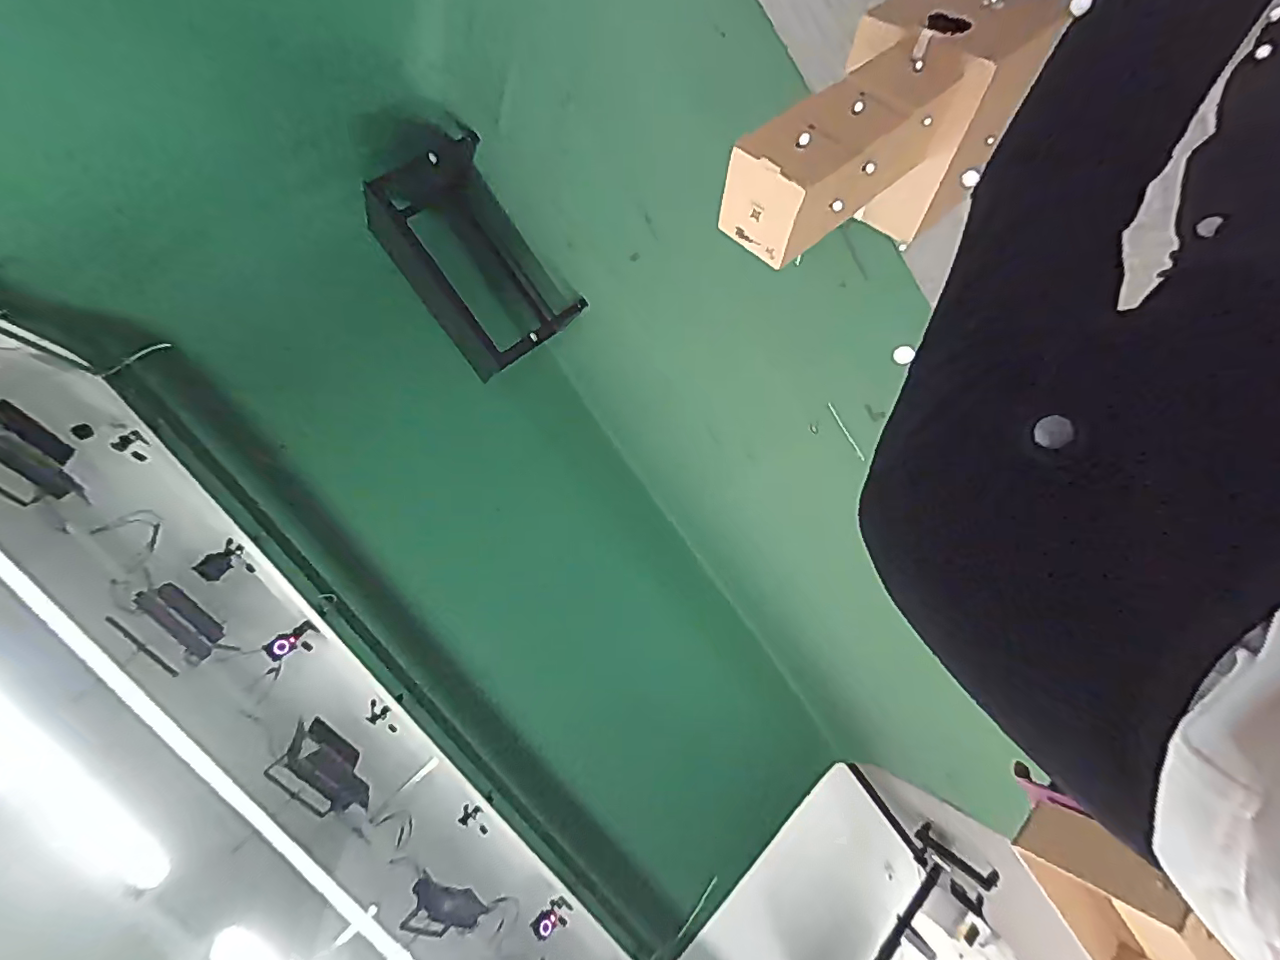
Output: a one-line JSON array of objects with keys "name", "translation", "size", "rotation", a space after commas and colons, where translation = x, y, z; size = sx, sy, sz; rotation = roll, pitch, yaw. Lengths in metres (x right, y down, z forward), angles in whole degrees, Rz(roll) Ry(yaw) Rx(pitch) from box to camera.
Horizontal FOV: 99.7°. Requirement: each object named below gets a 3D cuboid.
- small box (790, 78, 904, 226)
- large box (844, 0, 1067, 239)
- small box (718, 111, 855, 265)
[{"name": "small box", "translation": [0.393, -0.661, 1.087], "size": [0.168, 0.176, 0.179], "rotation": [44, 160, 17]}, {"name": "large box", "translation": [0.681, -0.885, 1.286], "size": [0.320, 0.320, 0.408], "rotation": [43, 161, 22]}, {"name": "small box", "translation": [0.278, -0.559, 1.031], "size": [0.168, 0.176, 0.179], "rotation": [44, 159, 17]}]
